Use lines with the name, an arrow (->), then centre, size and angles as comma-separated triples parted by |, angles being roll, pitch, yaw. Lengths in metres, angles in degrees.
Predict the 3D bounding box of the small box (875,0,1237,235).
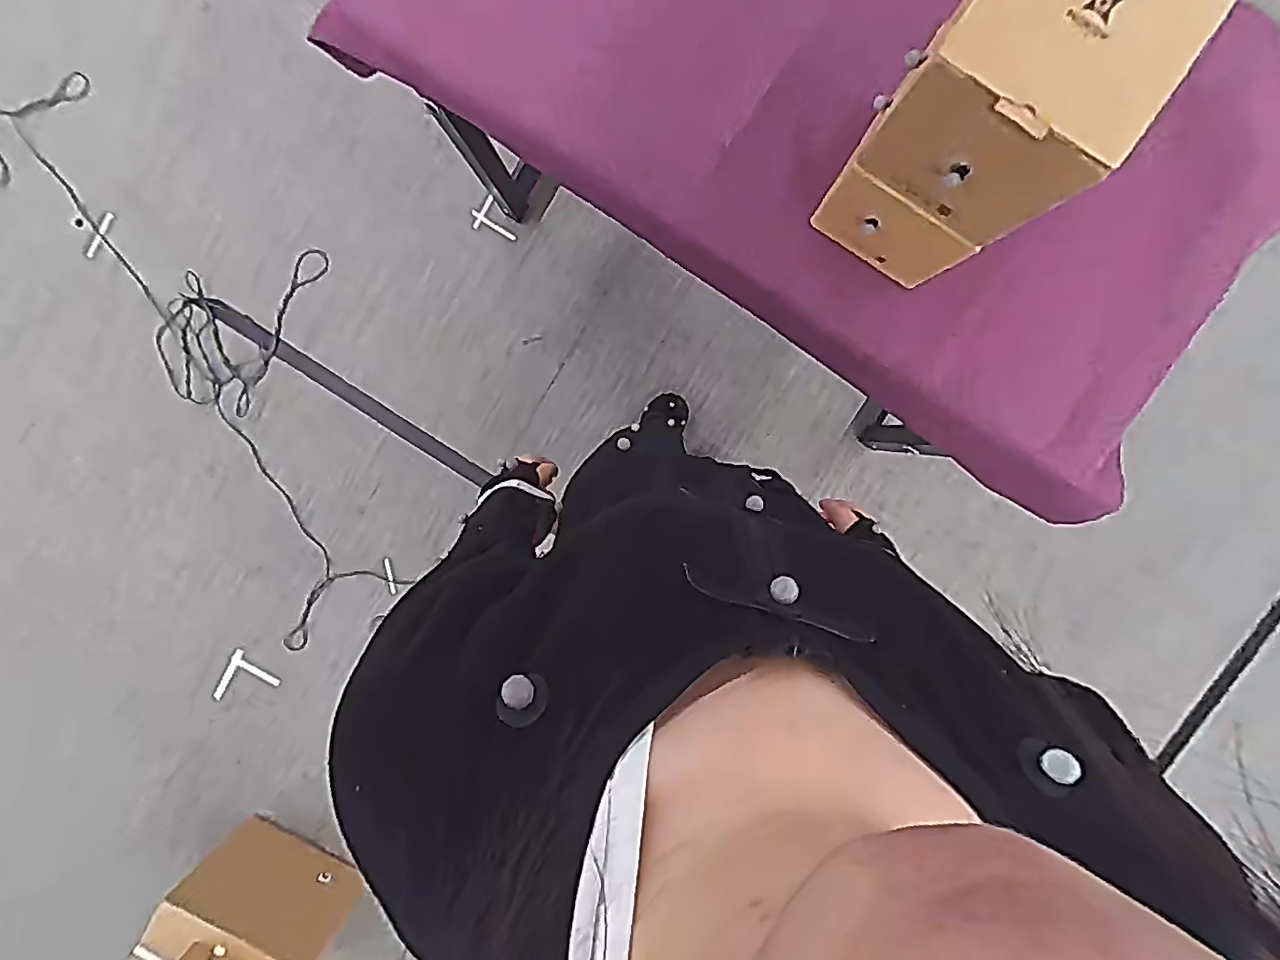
small box -> 0.342, -0.357, 0.483 | 0.168, 0.176, 0.179 | 34, 96, -2

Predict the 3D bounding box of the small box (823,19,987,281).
small box -> 0.343, -0.369, 0.647 | 0.168, 0.176, 0.179 | 33, 95, -2

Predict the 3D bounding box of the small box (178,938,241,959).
small box -> -1.078, 1.261, 1.280 | 0.168, 0.176, 0.179 | 29, 95, -2
